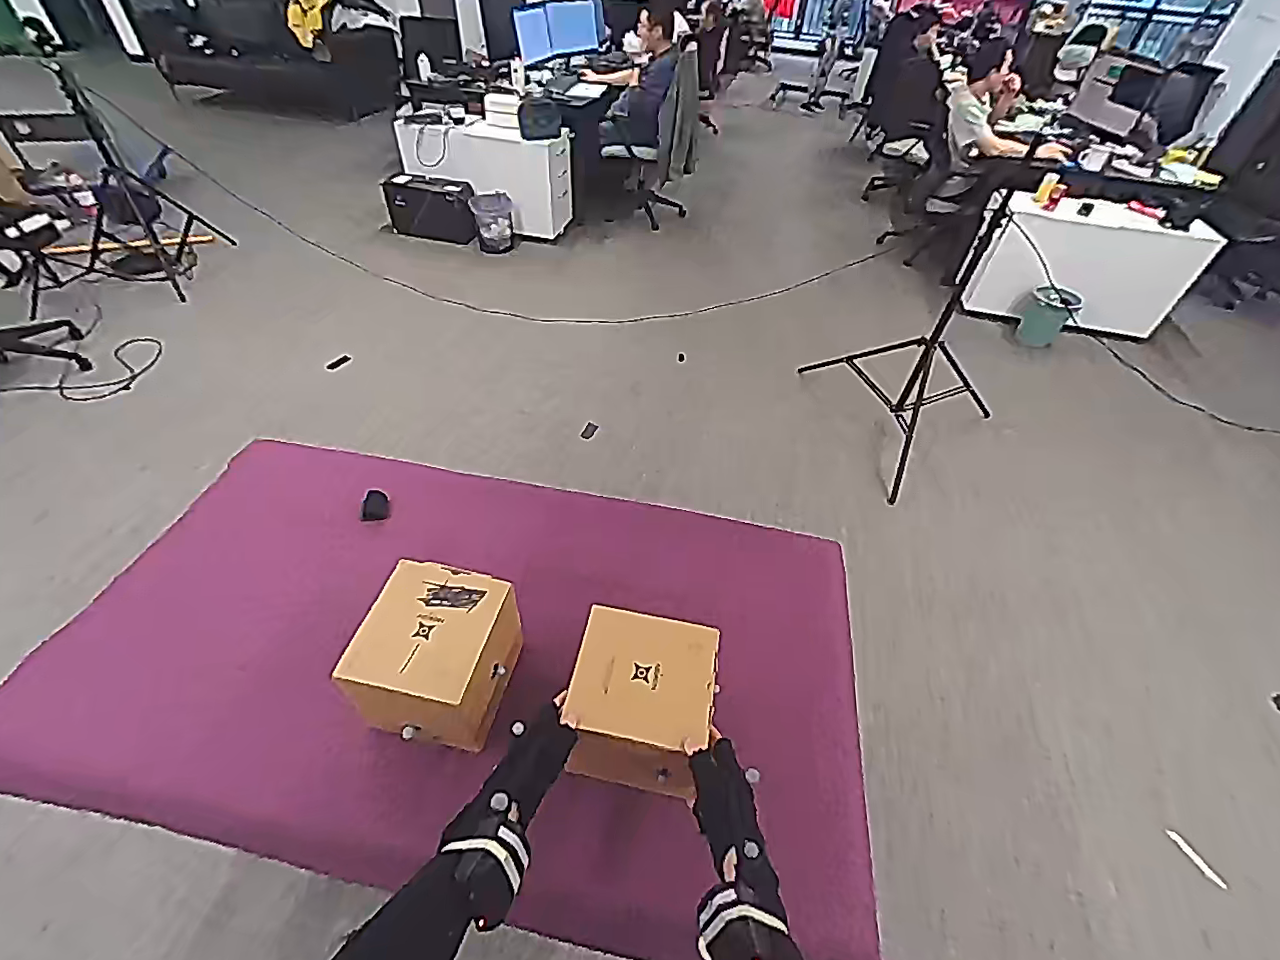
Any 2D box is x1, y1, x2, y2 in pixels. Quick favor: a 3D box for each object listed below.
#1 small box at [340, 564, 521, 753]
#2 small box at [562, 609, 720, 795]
[{"bbox_3d":[-0.273,0.249,0.756,0.168,0.176,0.179,10,46,6],"label":"small box"},{"bbox_3d":[0.005,0.301,0.728,0.179,0.176,0.168,8,43,6],"label":"small box"}]
